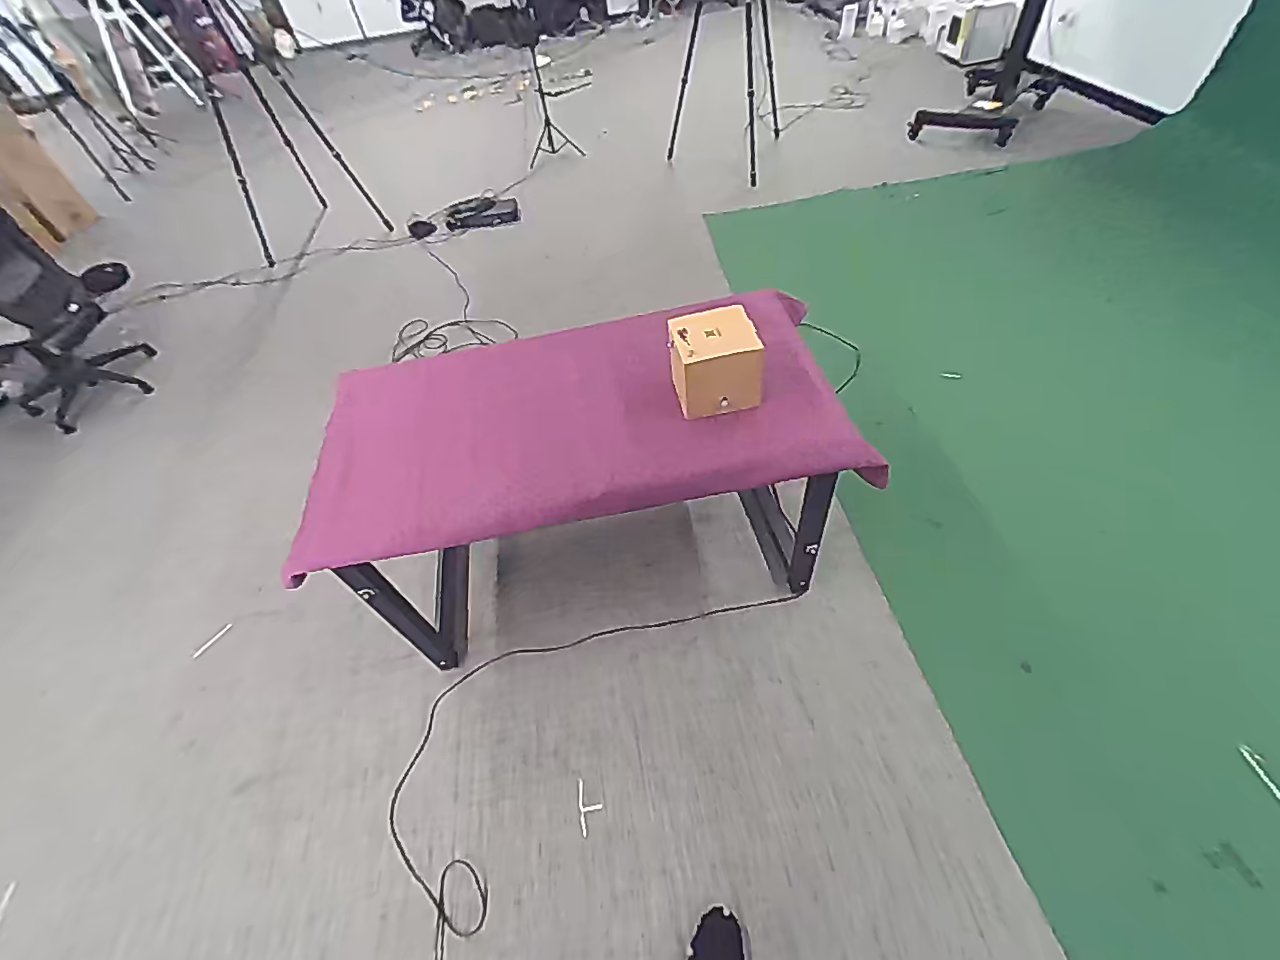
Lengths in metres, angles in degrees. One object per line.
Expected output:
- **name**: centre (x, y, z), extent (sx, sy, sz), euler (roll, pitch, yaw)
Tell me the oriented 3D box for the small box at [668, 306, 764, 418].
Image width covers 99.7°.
- **small box**: centre (0.166, -0.264, 1.225), extent (0.179, 0.176, 0.168), euler (-11, 50, -2)
